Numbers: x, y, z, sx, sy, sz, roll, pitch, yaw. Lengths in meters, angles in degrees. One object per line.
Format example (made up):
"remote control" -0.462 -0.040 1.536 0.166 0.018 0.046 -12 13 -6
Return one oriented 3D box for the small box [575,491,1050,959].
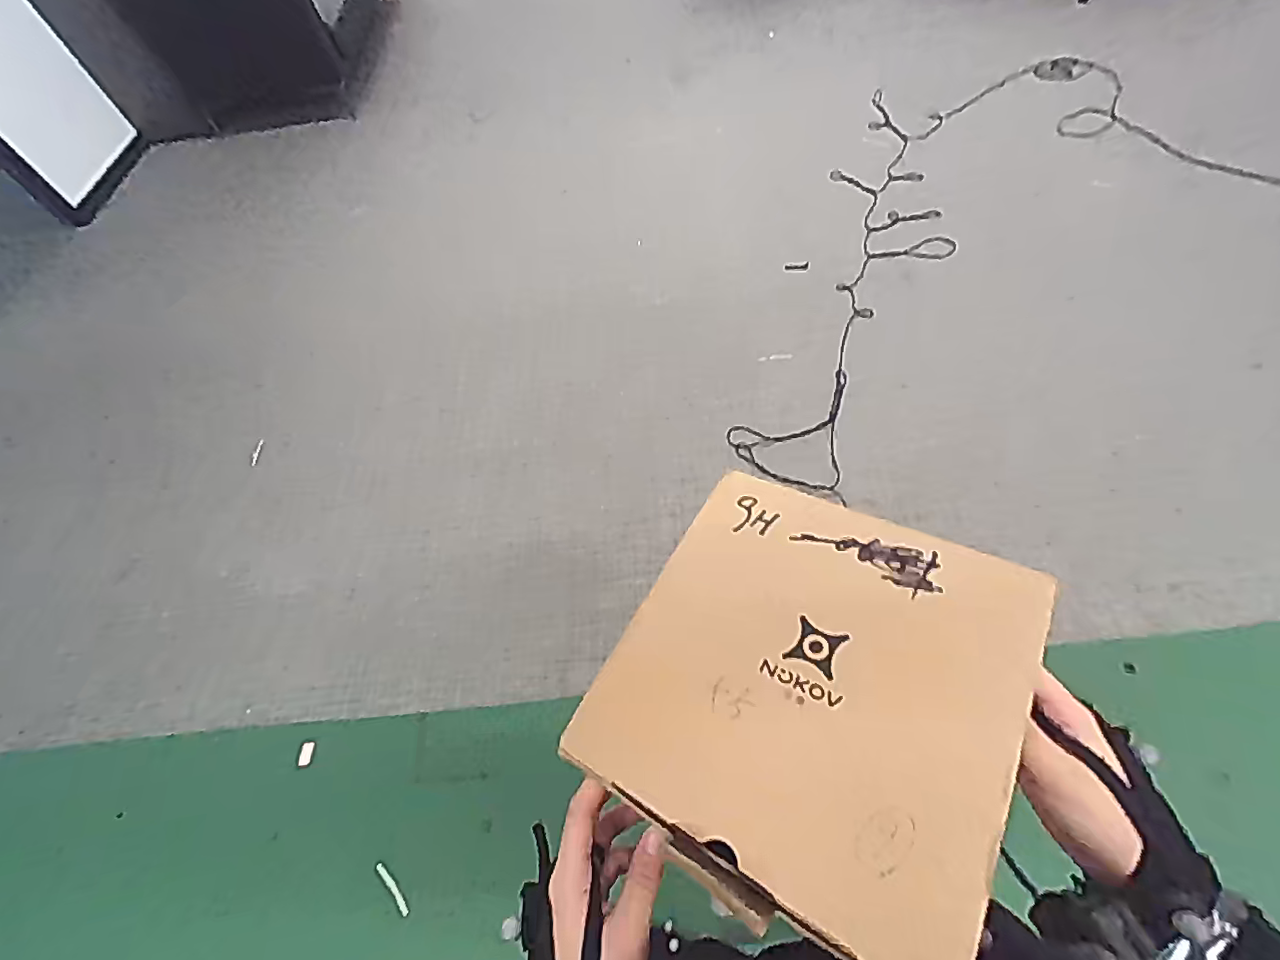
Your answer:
"small box" 0.096 0.143 0.313 0.168 0.176 0.179 21 61 27
